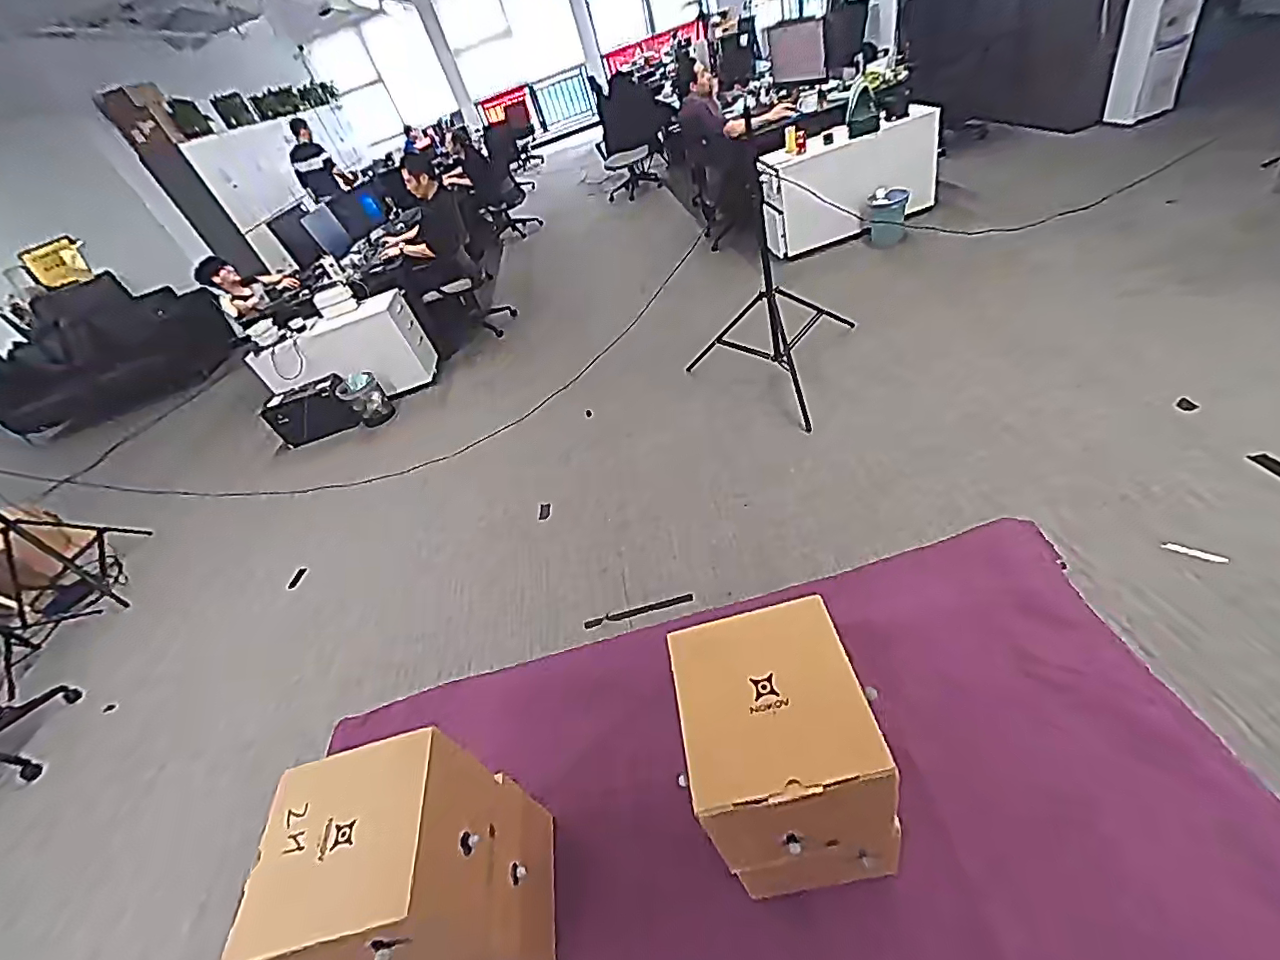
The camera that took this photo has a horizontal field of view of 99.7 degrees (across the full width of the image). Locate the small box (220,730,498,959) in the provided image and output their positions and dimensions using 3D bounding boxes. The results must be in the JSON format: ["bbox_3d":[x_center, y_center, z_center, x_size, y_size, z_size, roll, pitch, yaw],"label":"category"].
[{"bbox_3d":[-0.261,0.392,0.557,0.179,0.176,0.168,-18,39,3],"label":"small box"}]

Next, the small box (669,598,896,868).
[{"bbox_3d":[0.135,0.254,0.545,0.168,0.176,0.179,-16,39,5],"label":"small box"}]

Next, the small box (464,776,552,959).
[{"bbox_3d":[-0.215,0.506,0.668,0.168,0.176,0.179,-17,39,4],"label":"small box"}]
